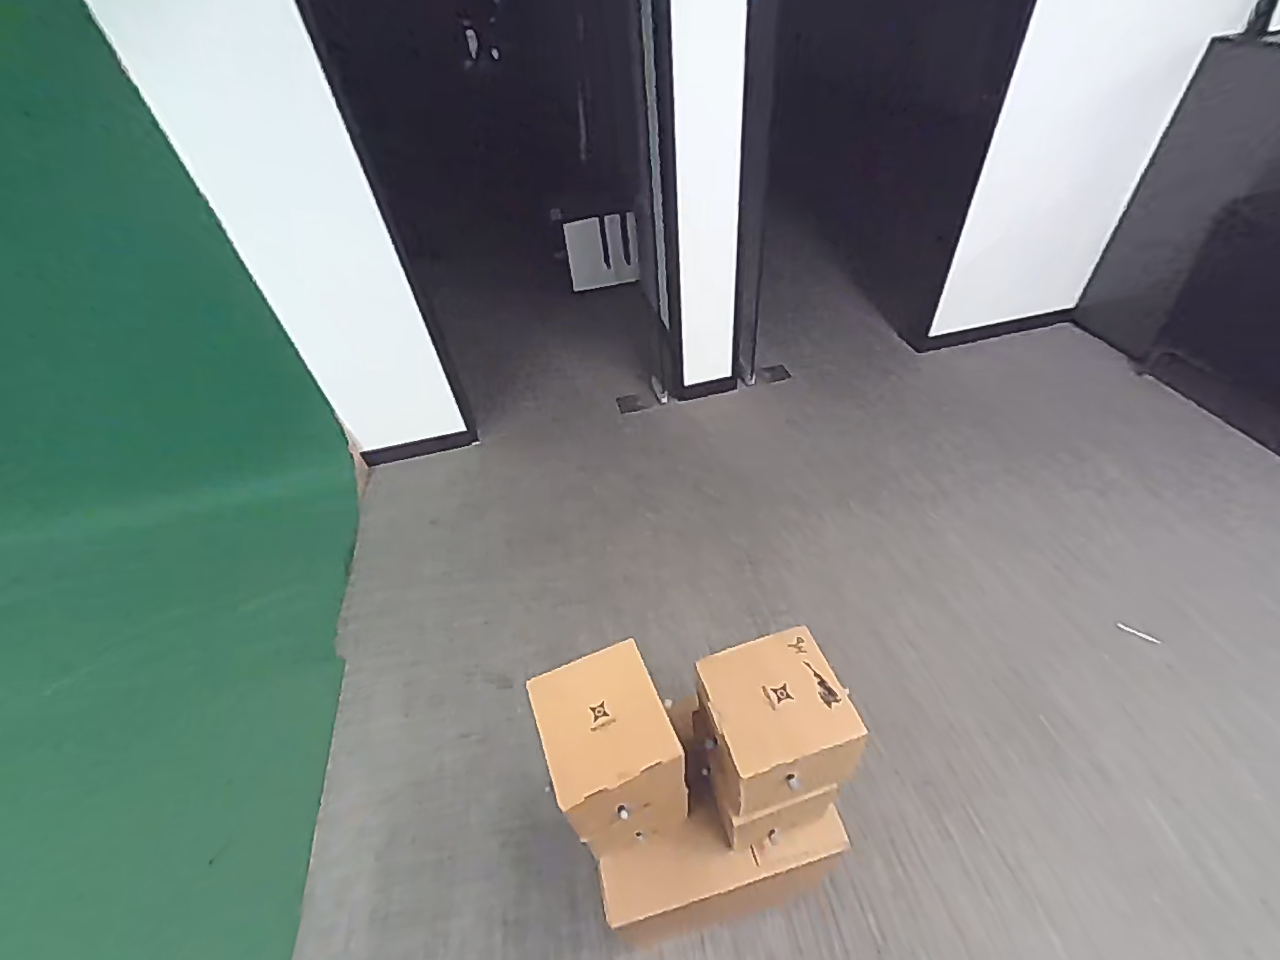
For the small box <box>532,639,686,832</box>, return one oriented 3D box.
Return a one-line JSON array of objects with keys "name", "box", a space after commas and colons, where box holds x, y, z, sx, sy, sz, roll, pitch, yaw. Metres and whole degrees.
[{"name": "small box", "box": [-0.045, 0.370, 0.784, 0.168, 0.176, 0.179, -18, 48, -13]}]
